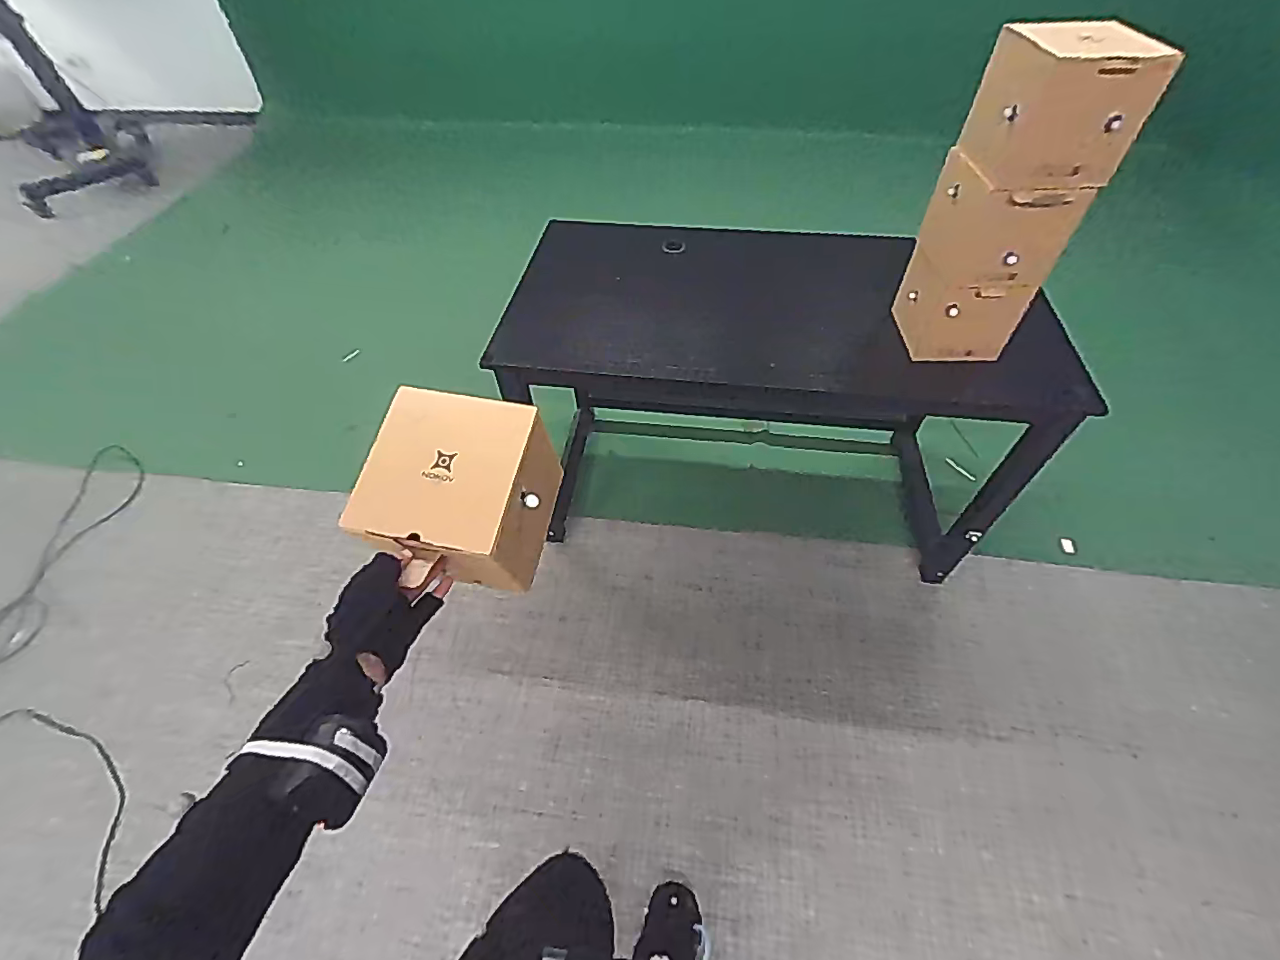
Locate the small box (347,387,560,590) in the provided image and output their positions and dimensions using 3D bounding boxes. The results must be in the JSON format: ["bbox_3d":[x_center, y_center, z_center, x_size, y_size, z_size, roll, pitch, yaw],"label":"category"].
[{"bbox_3d":[-0.202,0.017,0.647,0.168,0.176,0.179,9,67,6],"label":"small box"}]

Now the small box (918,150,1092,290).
[{"bbox_3d":[0.616,-0.454,0.945,0.168,0.176,0.179,-1,52,2],"label":"small box"}]

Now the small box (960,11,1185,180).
[{"bbox_3d":[0.618,-0.565,0.804,0.168,0.176,0.179,-1,51,1],"label":"small box"}]
